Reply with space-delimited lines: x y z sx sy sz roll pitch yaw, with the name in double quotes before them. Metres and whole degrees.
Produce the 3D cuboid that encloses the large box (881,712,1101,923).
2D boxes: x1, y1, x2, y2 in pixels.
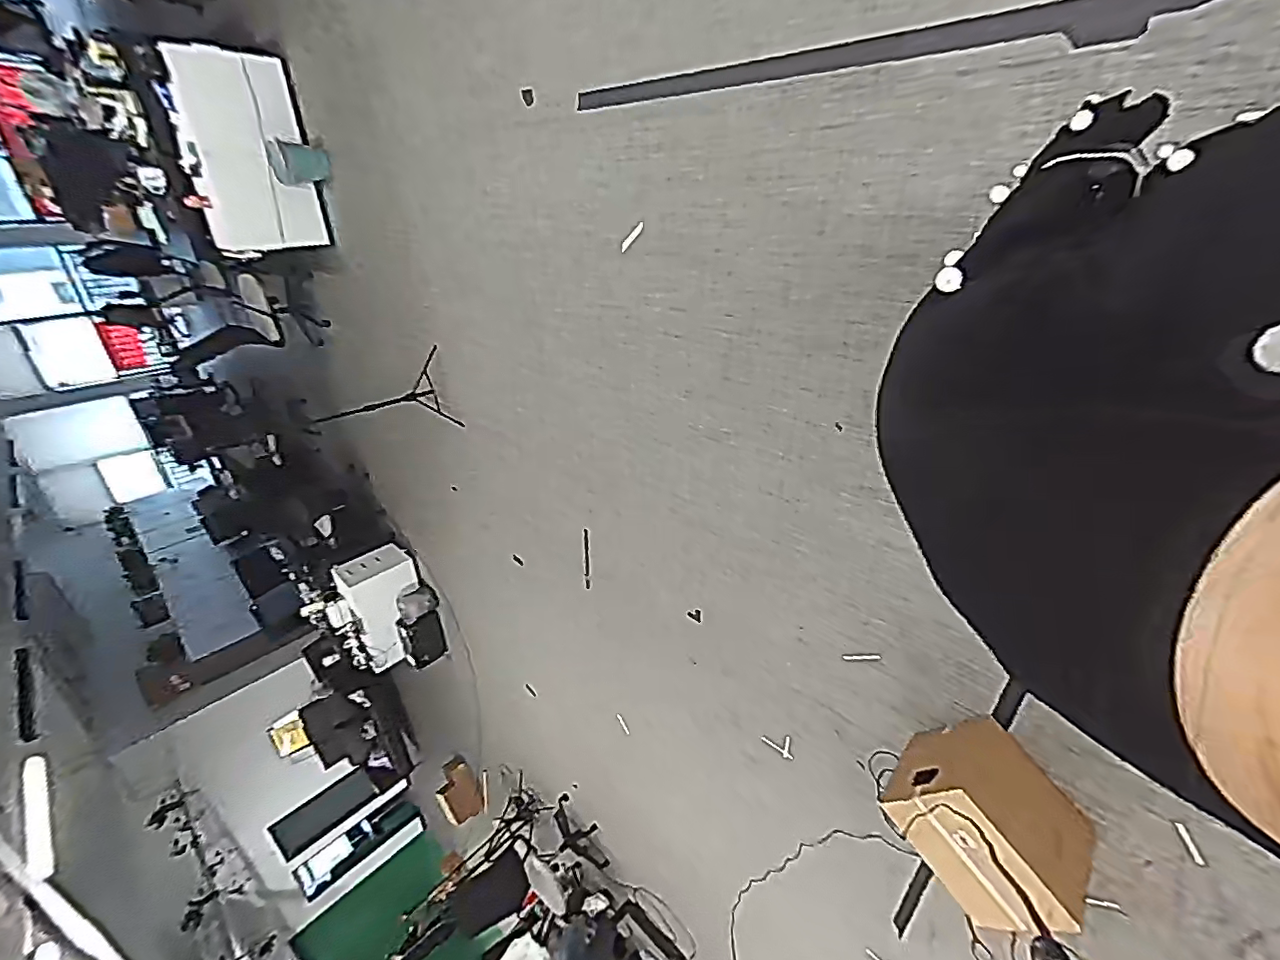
"large box" 1.015 0.972 1.579 0.408 0.320 0.320 51 138 14
